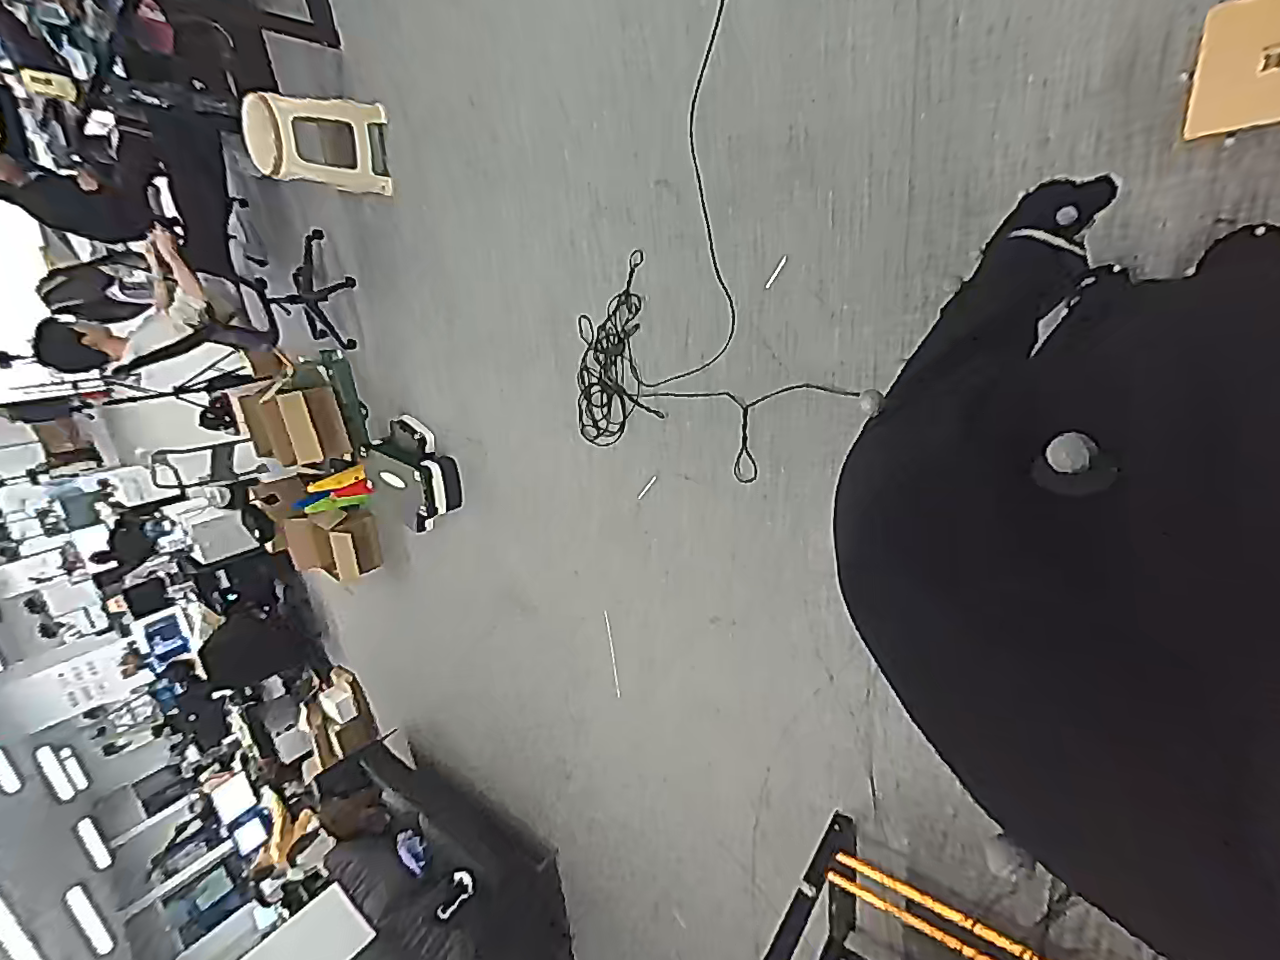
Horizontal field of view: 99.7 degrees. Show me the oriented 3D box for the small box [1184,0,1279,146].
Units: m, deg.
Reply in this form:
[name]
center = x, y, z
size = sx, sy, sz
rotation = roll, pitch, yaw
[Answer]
[small box]
center = 0.971, -0.635, 0.831
size = 0.168, 0.176, 0.179
rotation = 9, 113, 39
